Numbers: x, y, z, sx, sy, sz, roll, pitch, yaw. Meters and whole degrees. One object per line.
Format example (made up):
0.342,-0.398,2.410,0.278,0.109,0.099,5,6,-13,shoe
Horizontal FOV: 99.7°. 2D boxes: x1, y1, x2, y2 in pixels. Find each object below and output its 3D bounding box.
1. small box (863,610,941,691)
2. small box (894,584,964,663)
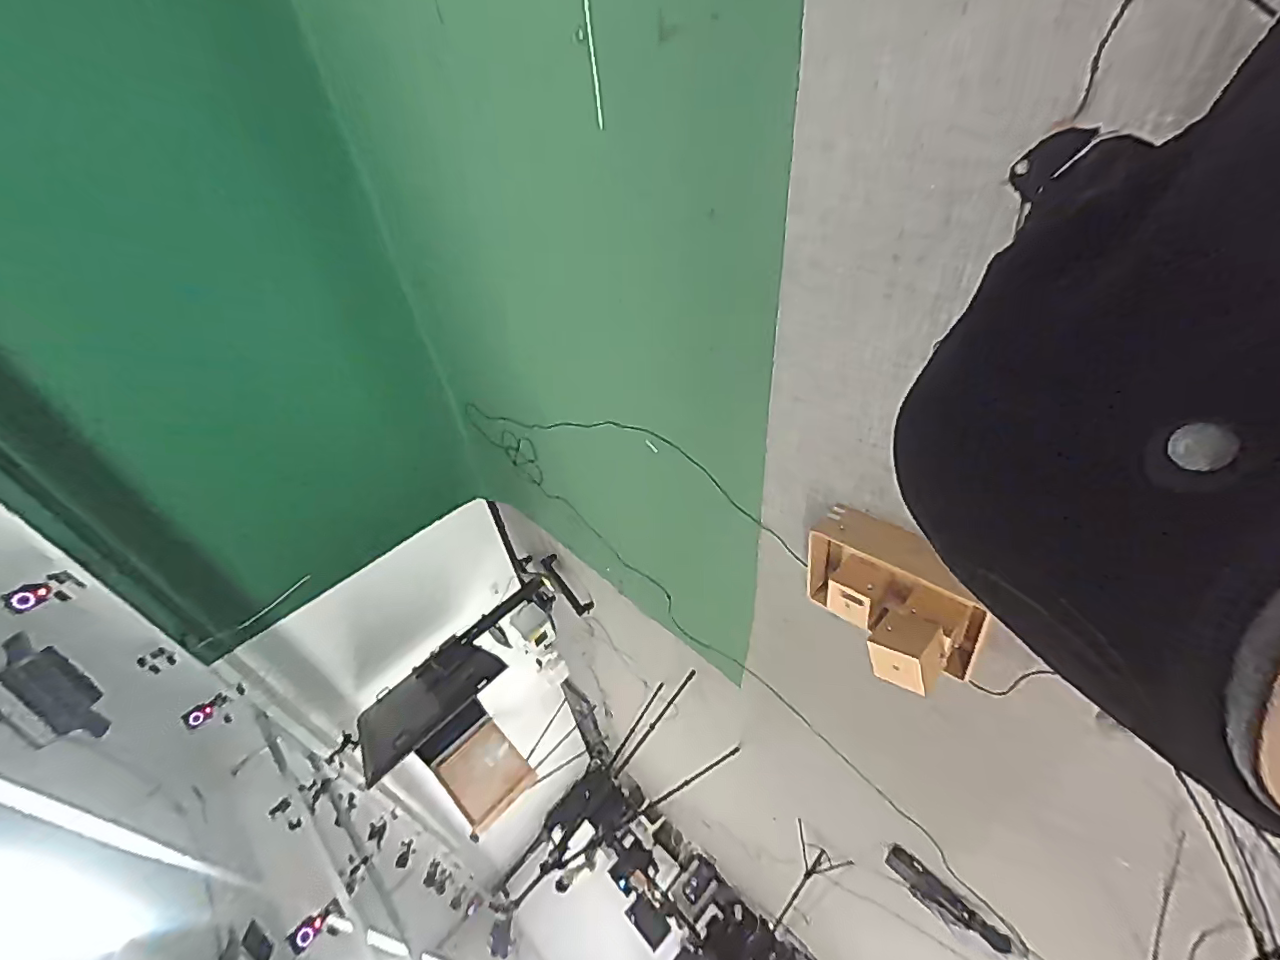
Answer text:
0.884,0.565,1.821,0.179,0.176,0.168,11,129,51,small box
1.007,0.499,1.905,0.179,0.176,0.168,28,141,39,small box
